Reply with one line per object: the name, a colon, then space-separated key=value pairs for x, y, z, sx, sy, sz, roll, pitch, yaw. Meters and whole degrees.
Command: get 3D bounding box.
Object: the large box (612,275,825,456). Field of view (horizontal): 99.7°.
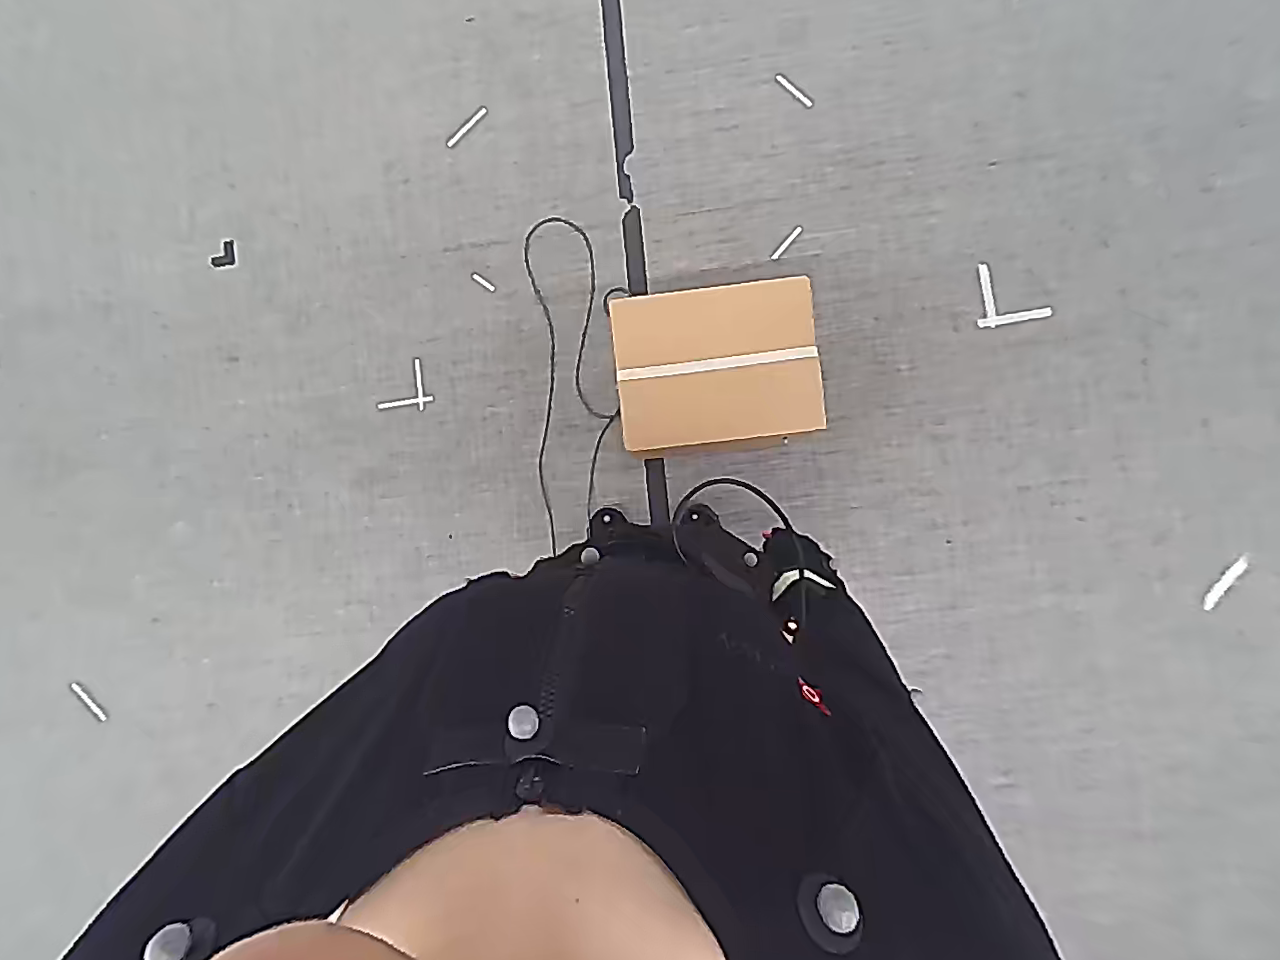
large box: x=0.164 y=-0.236 z=1.238 sx=0.408 sy=0.320 sz=0.320 roll=-6 pitch=88 yaw=3
